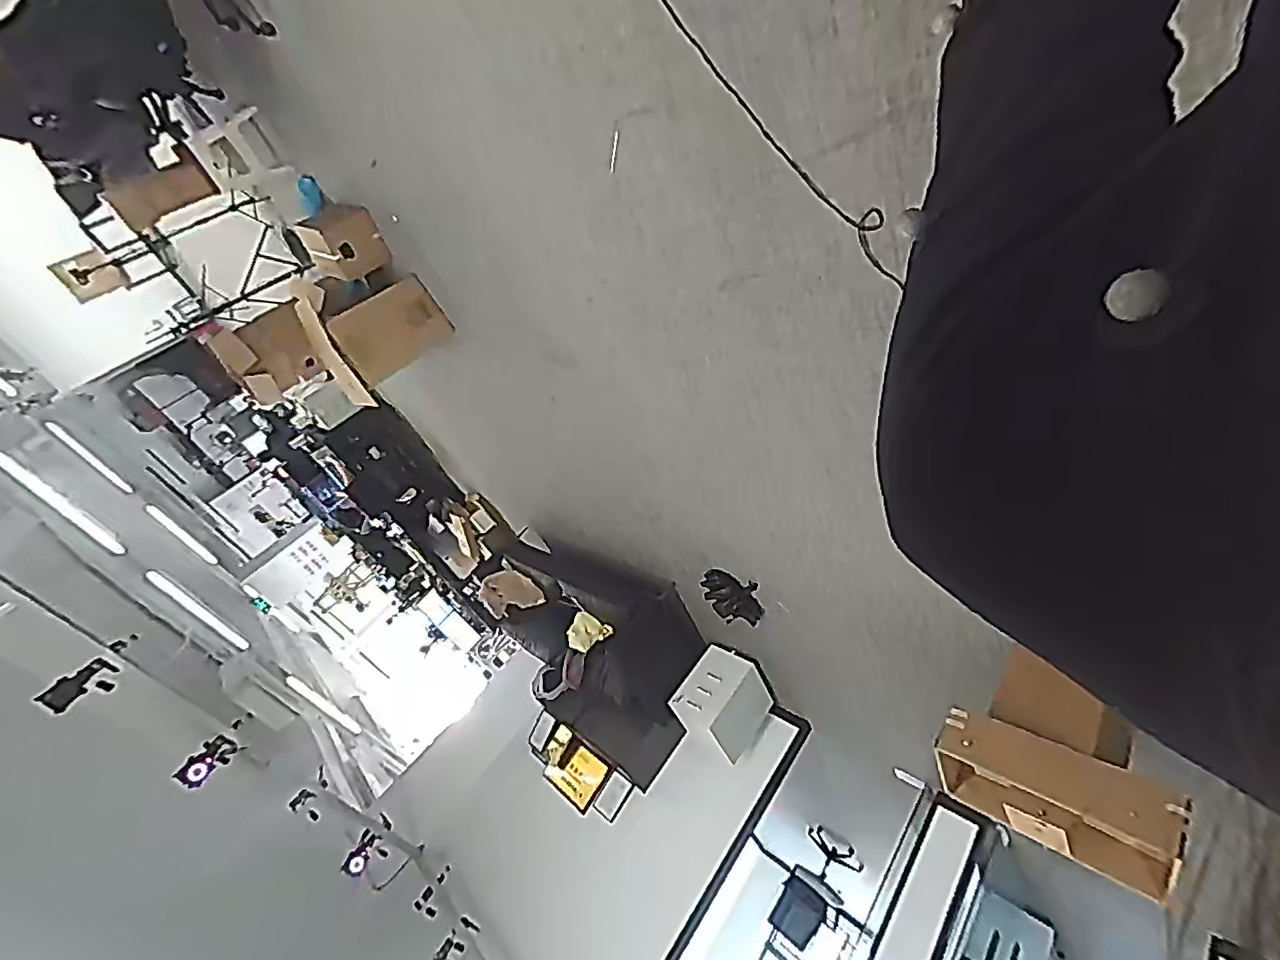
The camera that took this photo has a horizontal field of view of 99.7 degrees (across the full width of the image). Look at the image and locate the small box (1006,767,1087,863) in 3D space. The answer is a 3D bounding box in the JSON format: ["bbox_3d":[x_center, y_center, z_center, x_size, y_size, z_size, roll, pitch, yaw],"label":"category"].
[{"bbox_3d":[1.318,1.077,1.747,0.168,0.176,0.179,3,133,51],"label":"small box"}]
